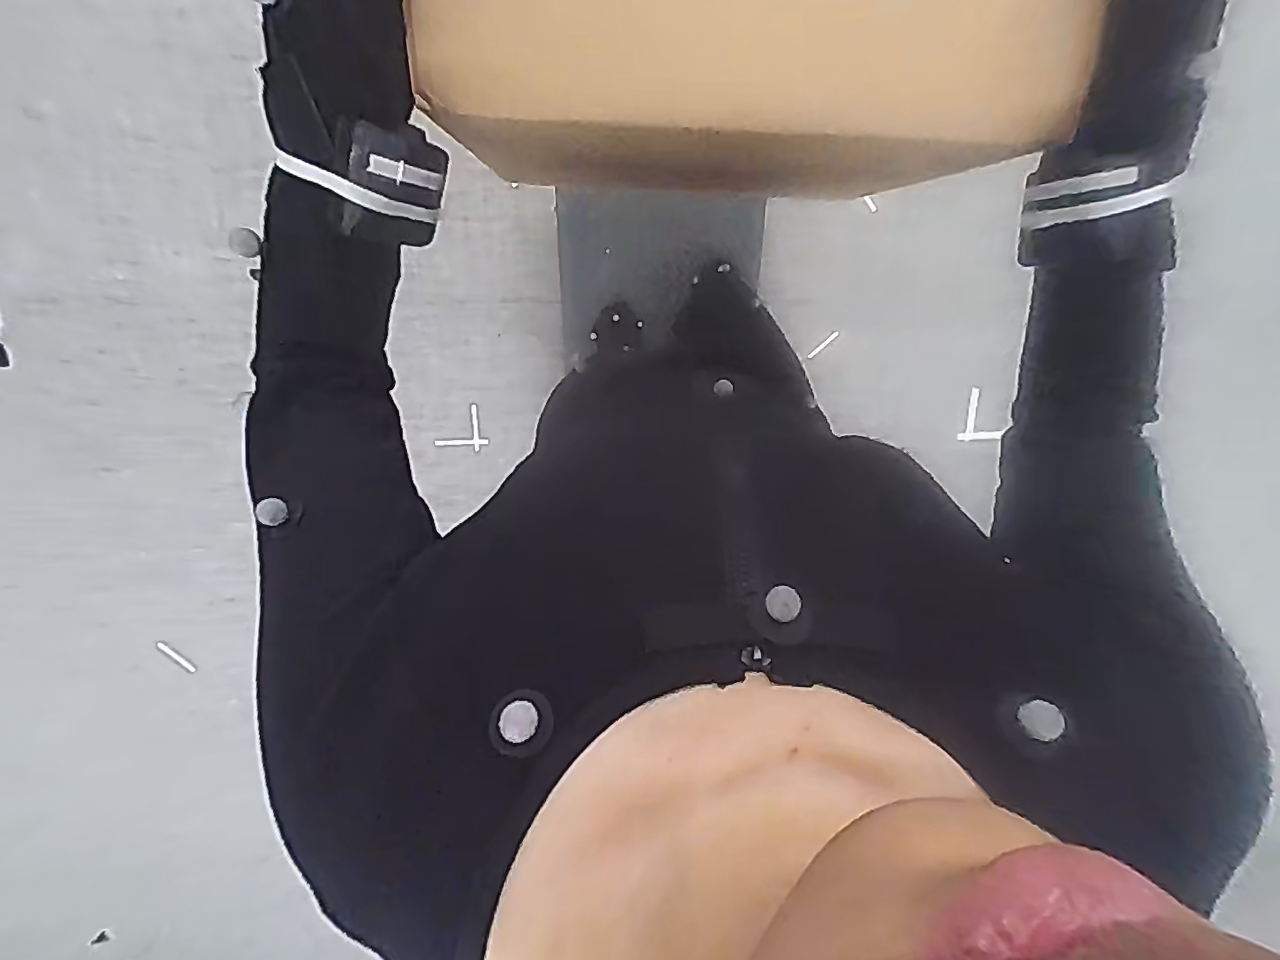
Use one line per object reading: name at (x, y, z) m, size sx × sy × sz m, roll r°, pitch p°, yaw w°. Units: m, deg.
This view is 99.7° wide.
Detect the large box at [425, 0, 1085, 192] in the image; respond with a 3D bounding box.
large box at (0.062, -0.422, 0.425) m, size 0.408 × 0.320 × 0.320 m, roll 0°, pitch 112°, yaw -5°
